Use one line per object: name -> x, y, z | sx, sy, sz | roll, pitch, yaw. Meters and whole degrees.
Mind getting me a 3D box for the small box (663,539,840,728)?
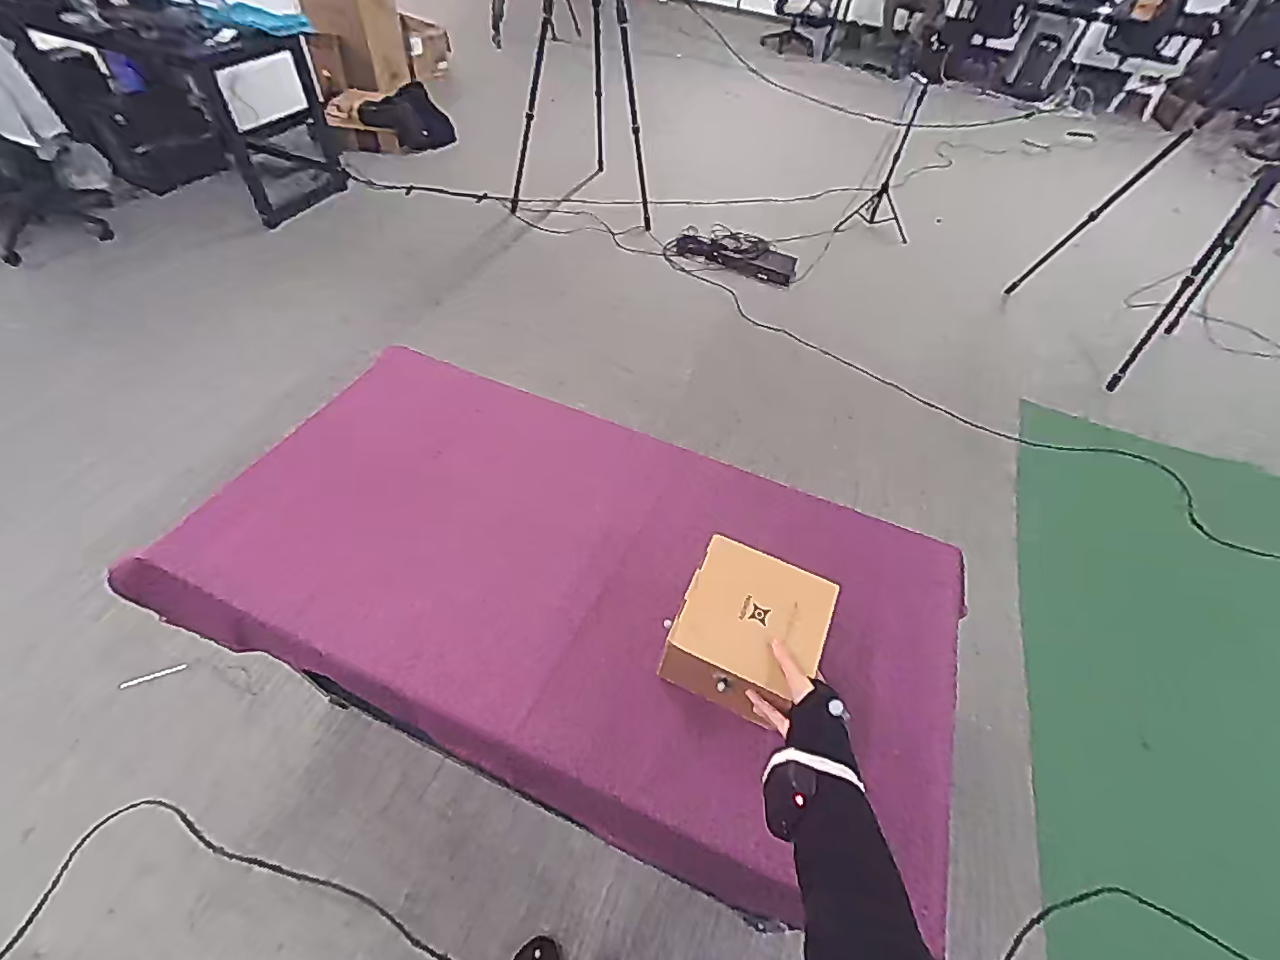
small box -> 0.141, 0.215, 0.738 | 0.179, 0.176, 0.168 | 23, 58, 12
